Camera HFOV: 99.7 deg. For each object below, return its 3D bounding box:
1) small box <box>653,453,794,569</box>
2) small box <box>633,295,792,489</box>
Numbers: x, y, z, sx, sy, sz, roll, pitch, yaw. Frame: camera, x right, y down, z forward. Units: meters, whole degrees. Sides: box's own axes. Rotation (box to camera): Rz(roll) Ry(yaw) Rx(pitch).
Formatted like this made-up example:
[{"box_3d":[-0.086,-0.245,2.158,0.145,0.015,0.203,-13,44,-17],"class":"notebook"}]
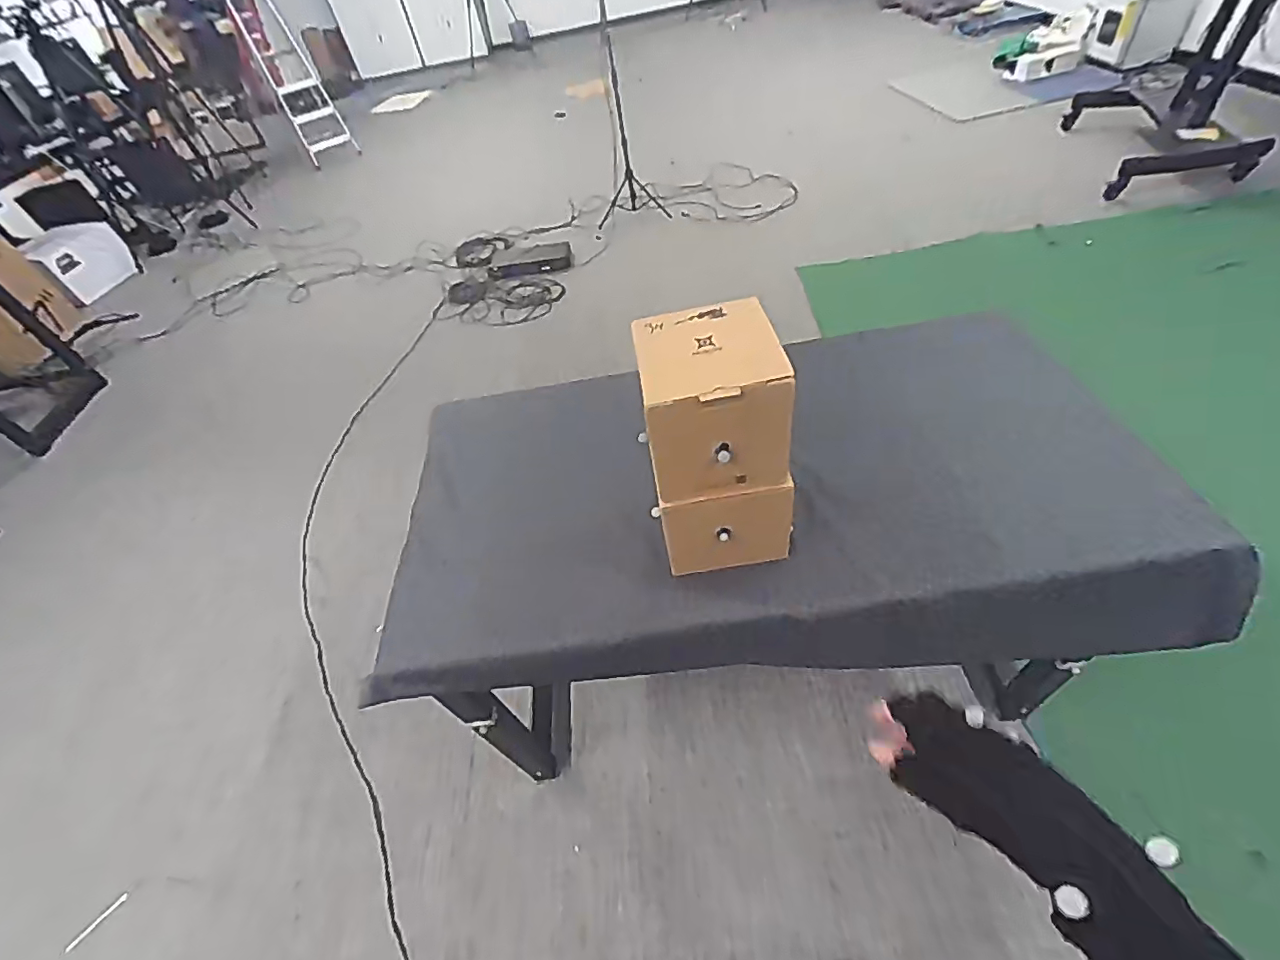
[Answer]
[{"box_3d":[0.117,0.012,0.805,0.179,0.176,0.168,-10,48,3],"class":"small box"},{"box_3d":[0.090,-0.104,0.693,0.168,0.176,0.179,-10,48,3],"class":"small box"}]
